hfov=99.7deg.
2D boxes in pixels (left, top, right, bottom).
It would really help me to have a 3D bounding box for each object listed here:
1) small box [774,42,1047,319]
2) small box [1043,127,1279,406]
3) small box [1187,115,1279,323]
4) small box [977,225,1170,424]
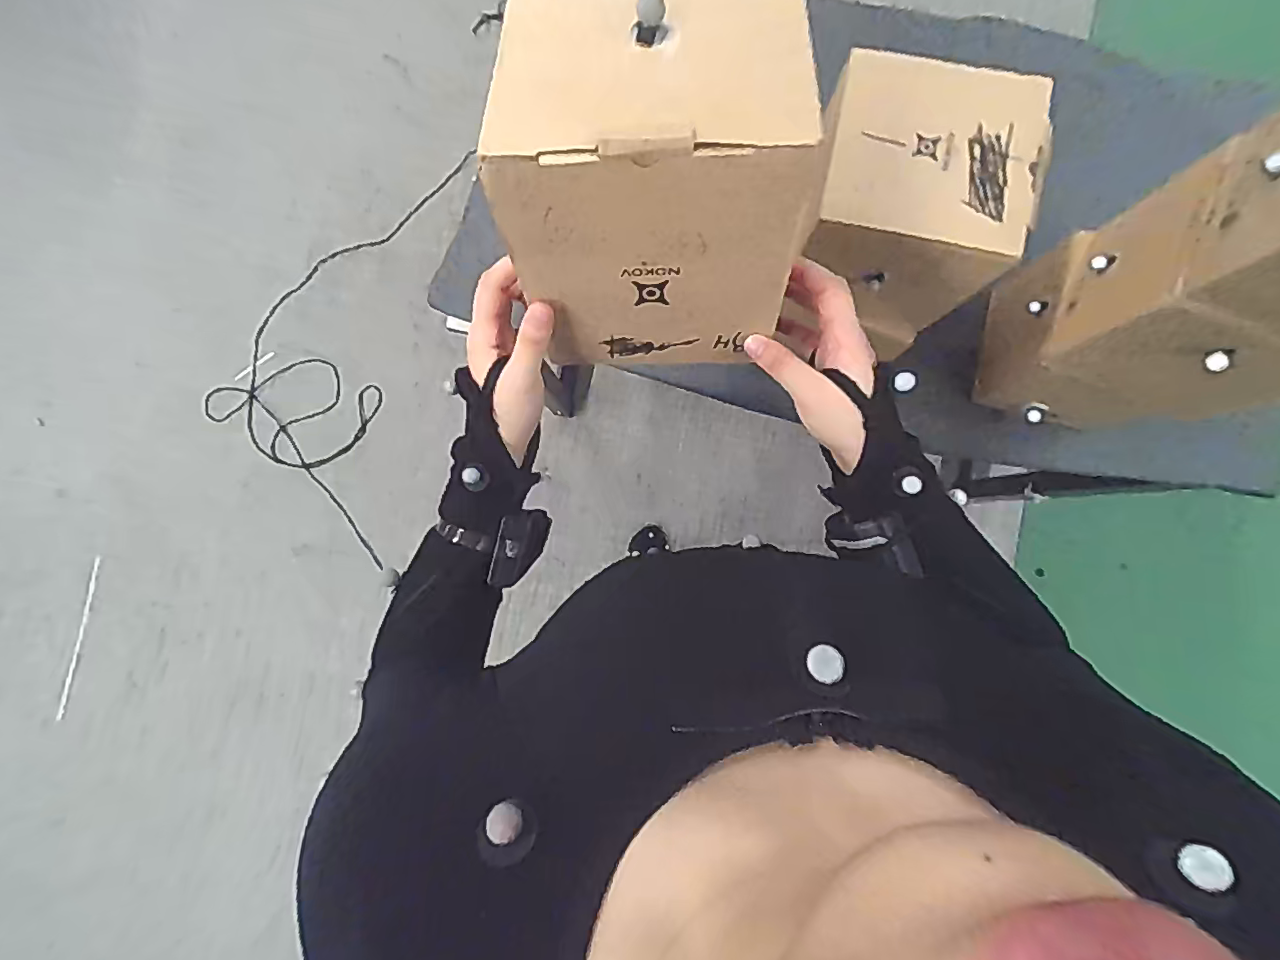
[{"bbox_3d":[0.251,-0.278,0.542,0.179,0.176,0.168,12,85,3],"label":"small box"},{"bbox_3d":[0.556,-0.185,0.526,0.179,0.176,0.168,24,86,5],"label":"small box"},{"bbox_3d":[0.553,-0.202,0.362,0.179,0.176,0.168,25,86,5],"label":"small box"},{"bbox_3d":[0.566,-0.184,0.688,0.168,0.176,0.179,13,86,4],"label":"small box"}]
